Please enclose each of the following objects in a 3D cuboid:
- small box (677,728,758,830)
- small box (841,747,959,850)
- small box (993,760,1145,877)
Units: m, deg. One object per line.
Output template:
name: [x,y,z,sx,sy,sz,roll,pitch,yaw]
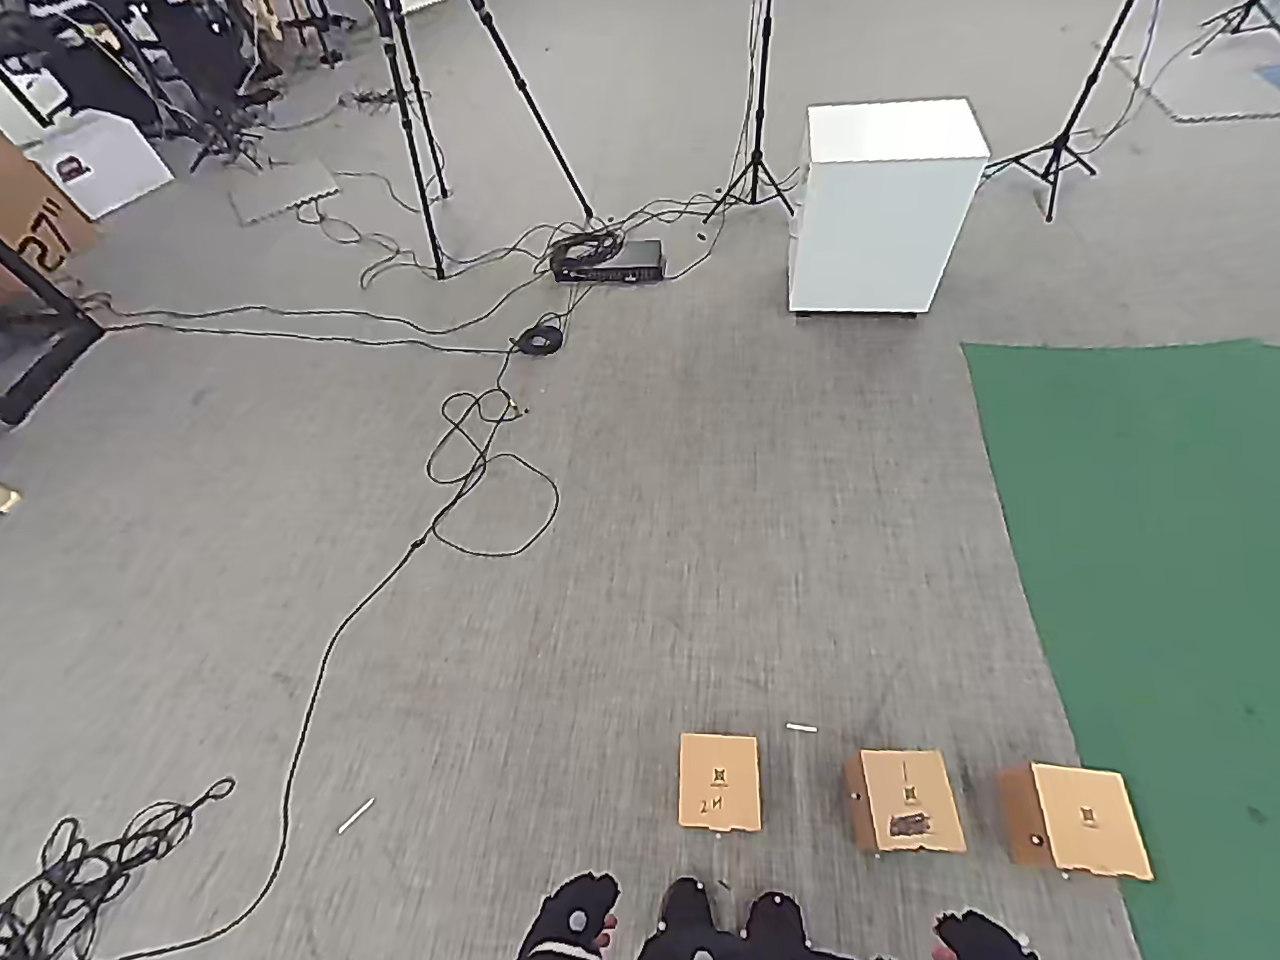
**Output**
small box: [0.170,0.665,1.199,0.168,0.176,0.179,0,56,7]
small box: [0.542,0.681,1.153,0.168,0.176,0.179,-1,55,5]
small box: [0.863,0.695,1.112,0.168,0.176,0.179,3,56,9]
